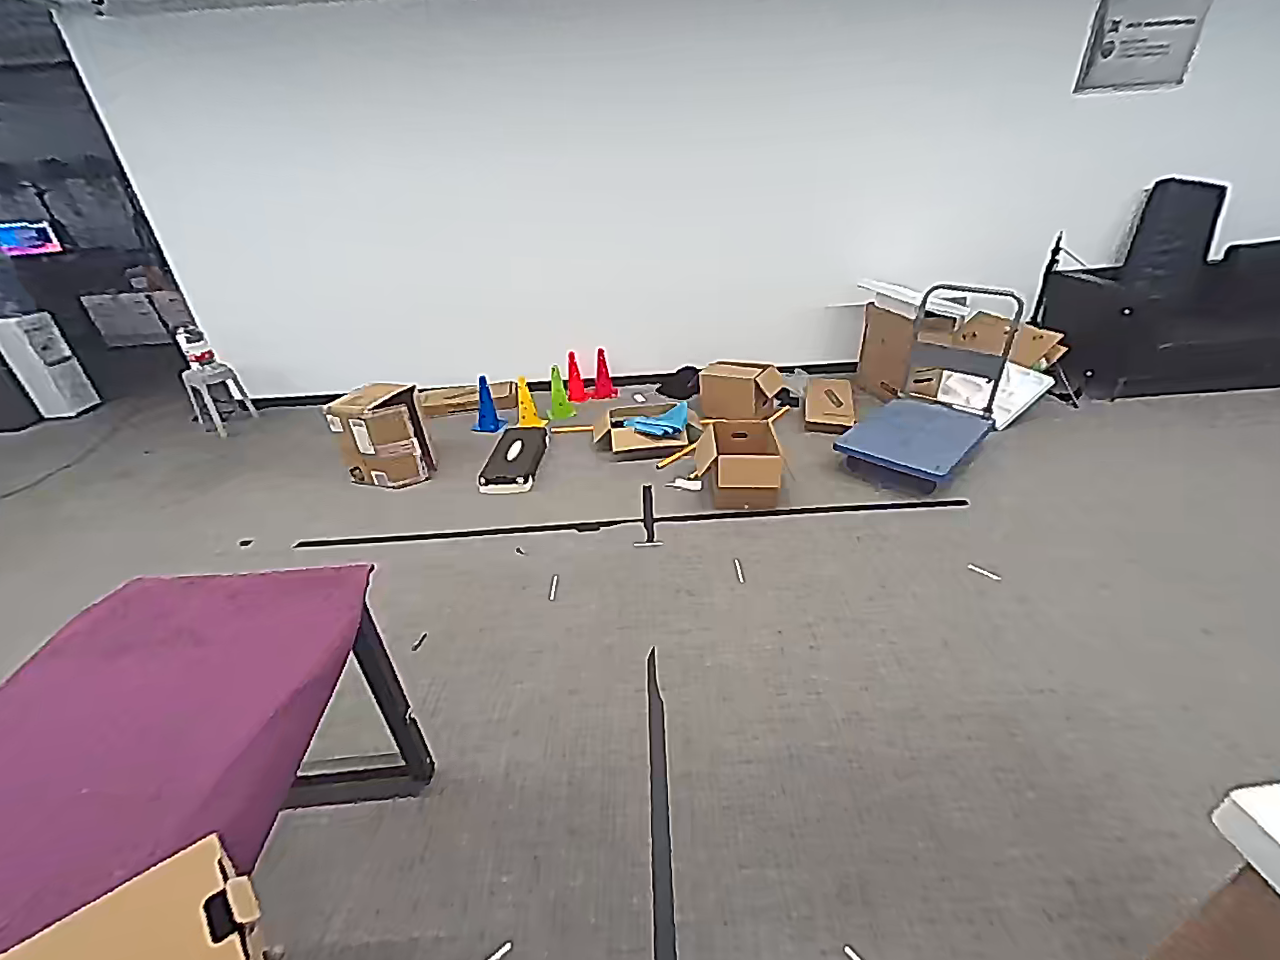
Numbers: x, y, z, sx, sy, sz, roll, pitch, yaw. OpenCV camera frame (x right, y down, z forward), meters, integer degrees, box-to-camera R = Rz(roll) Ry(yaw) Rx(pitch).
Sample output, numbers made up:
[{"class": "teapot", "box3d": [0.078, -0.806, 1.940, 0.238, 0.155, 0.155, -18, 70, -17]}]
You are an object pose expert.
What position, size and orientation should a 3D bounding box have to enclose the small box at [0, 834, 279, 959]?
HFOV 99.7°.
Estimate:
[{"class": "small box", "box3d": [-0.423, 0.469, 0.462, 0.179, 0.176, 0.168, -21, 40, -39]}]
